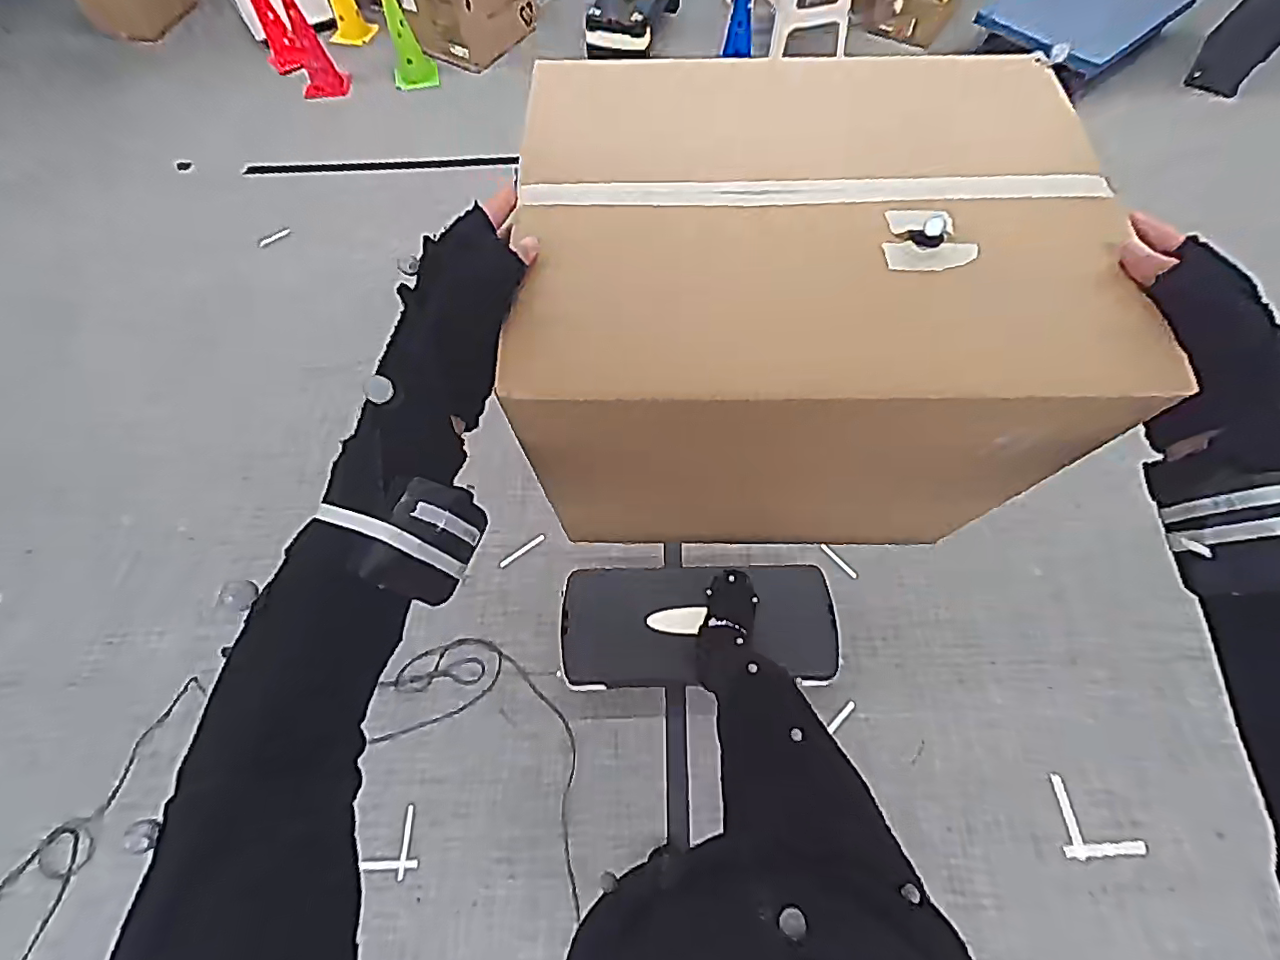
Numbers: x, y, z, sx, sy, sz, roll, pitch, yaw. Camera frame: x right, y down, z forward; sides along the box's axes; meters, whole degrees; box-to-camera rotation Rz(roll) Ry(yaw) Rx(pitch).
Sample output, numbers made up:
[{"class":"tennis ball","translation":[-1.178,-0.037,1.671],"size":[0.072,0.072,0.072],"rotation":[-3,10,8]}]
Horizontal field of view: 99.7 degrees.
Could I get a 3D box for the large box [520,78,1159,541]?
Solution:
[{"class":"large box","translation":[0.120,-0.133,0.526],"size":[0.408,0.320,0.320],"rotation":[0,67,0]}]
